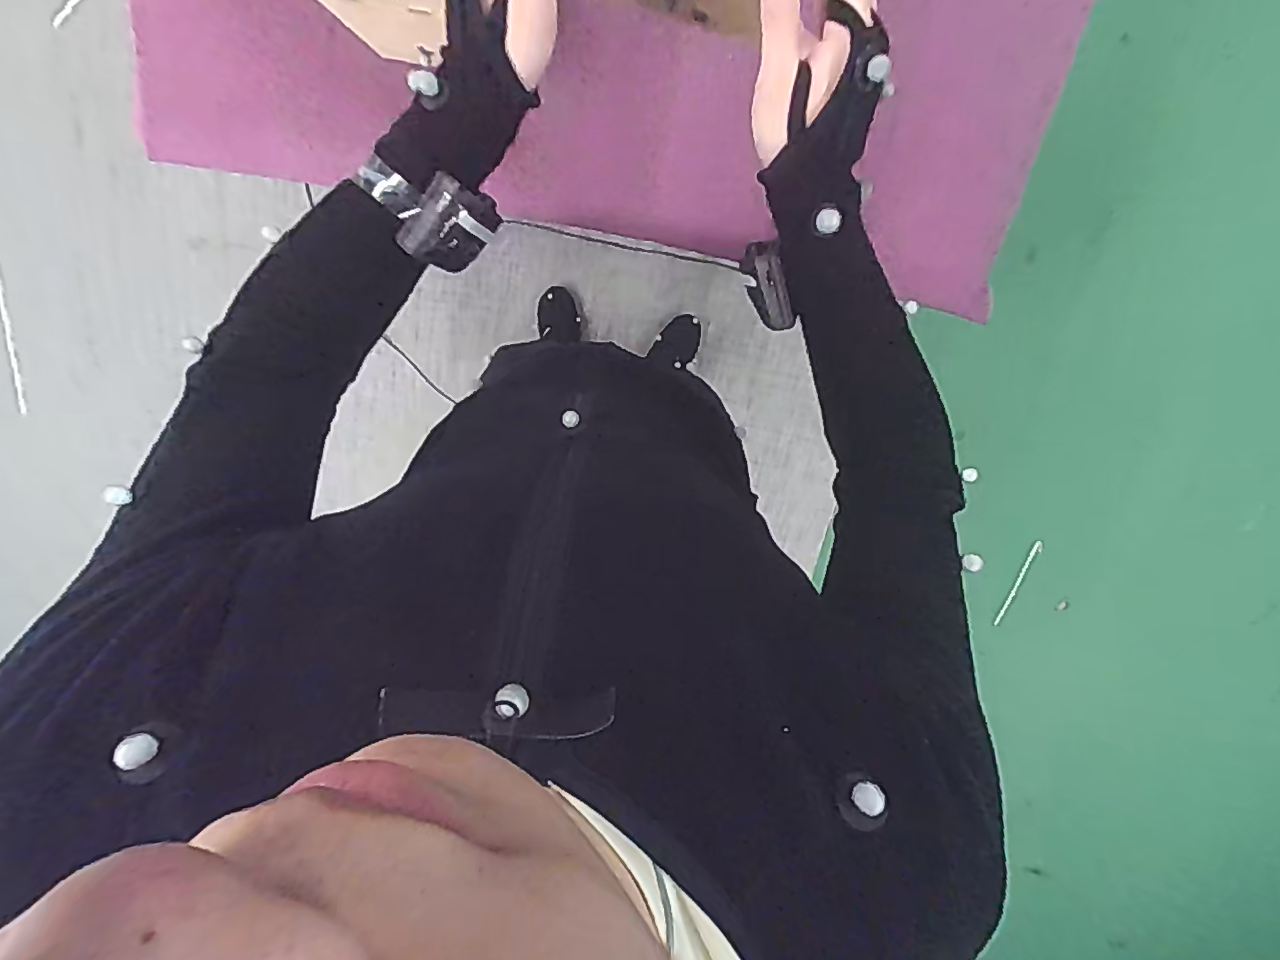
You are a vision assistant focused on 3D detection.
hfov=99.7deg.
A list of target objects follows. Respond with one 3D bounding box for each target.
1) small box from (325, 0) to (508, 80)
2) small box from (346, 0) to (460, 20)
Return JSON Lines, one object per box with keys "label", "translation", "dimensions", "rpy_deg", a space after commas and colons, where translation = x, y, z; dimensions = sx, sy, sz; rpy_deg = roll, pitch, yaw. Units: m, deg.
{"label": "small box", "translation": [-0.251, -0.600, 0.615], "dimensions": [0.168, 0.176, 0.179], "rpy_deg": [9, 109, -1]}
{"label": "small box", "translation": [-0.255, -0.548, 0.459], "dimensions": [0.168, 0.176, 0.179], "rpy_deg": [9, 108, -1]}
